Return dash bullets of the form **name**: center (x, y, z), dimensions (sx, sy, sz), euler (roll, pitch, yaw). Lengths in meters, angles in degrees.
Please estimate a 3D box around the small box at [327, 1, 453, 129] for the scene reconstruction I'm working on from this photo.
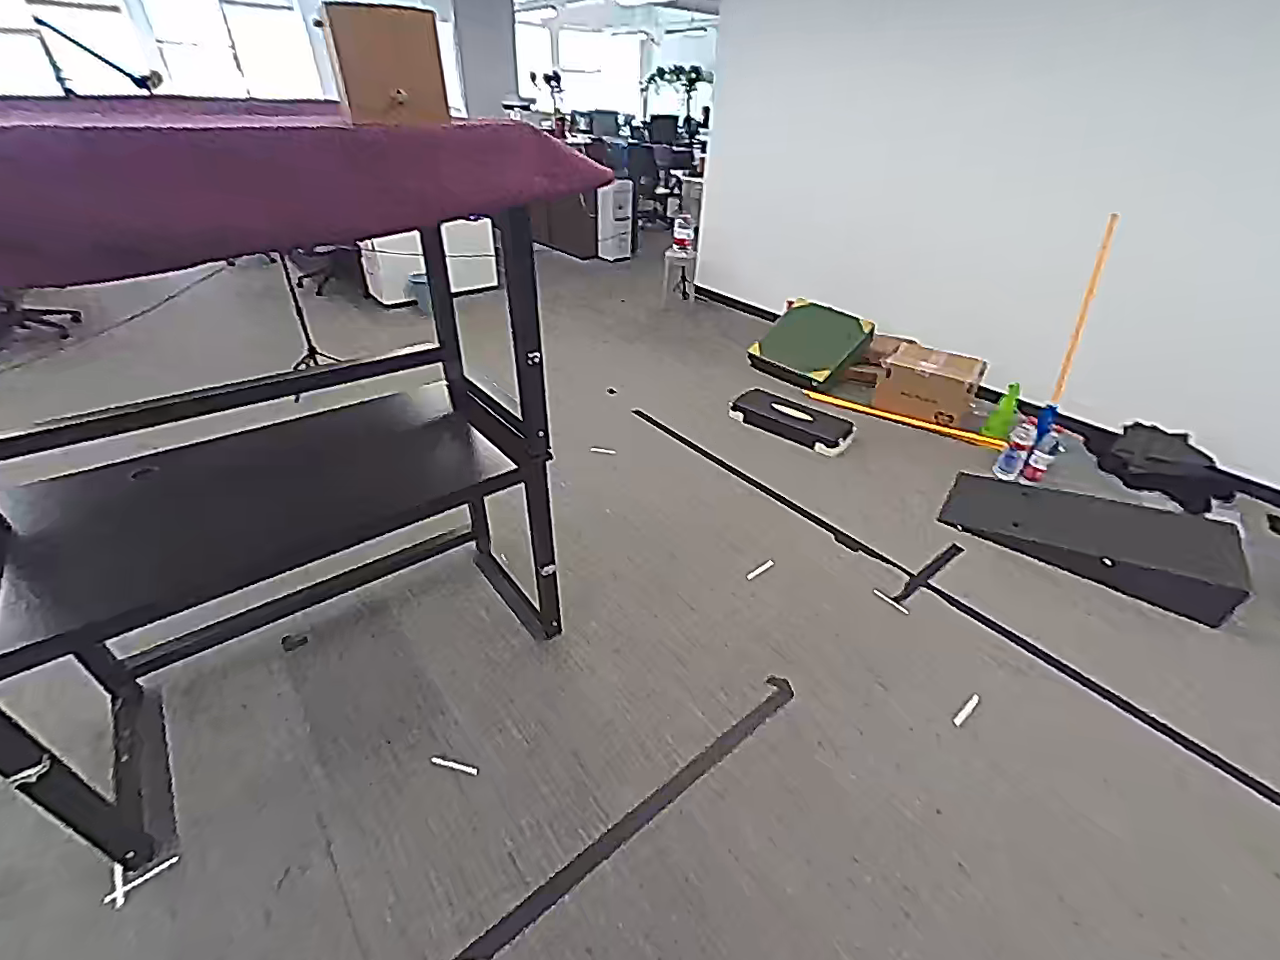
- **small box**: center (-0.450, -0.748, 0.989), dimensions (0.179, 0.176, 0.168), euler (-16, 38, -24)
